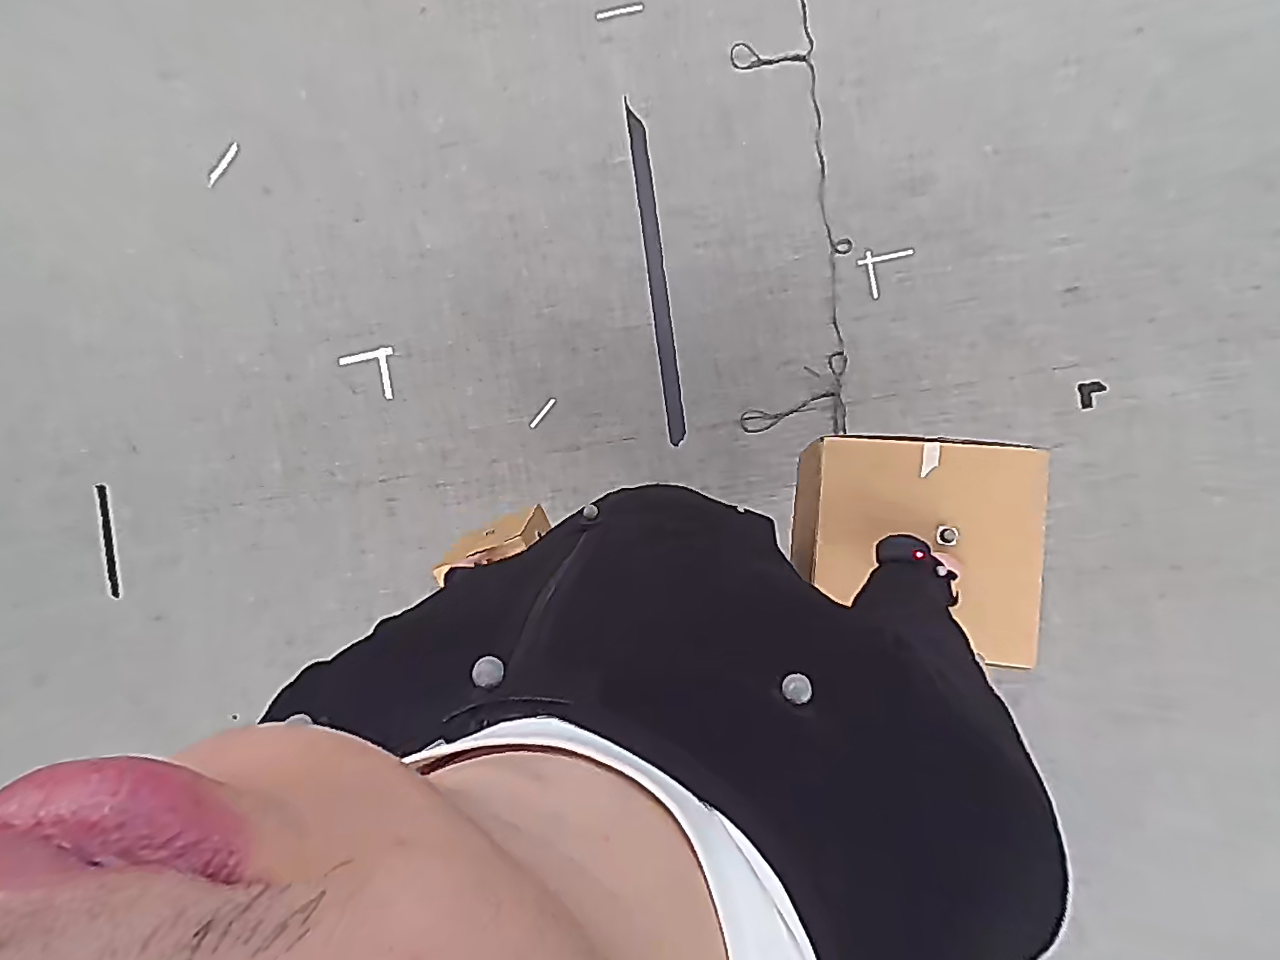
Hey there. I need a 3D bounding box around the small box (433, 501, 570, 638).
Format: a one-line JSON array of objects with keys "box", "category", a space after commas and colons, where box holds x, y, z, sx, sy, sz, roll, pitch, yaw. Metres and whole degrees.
[{"box": [-0.241, 0.167, 0.993, 0.168, 0.179, 0.176, -21, 107, 7], "category": "small box"}]
